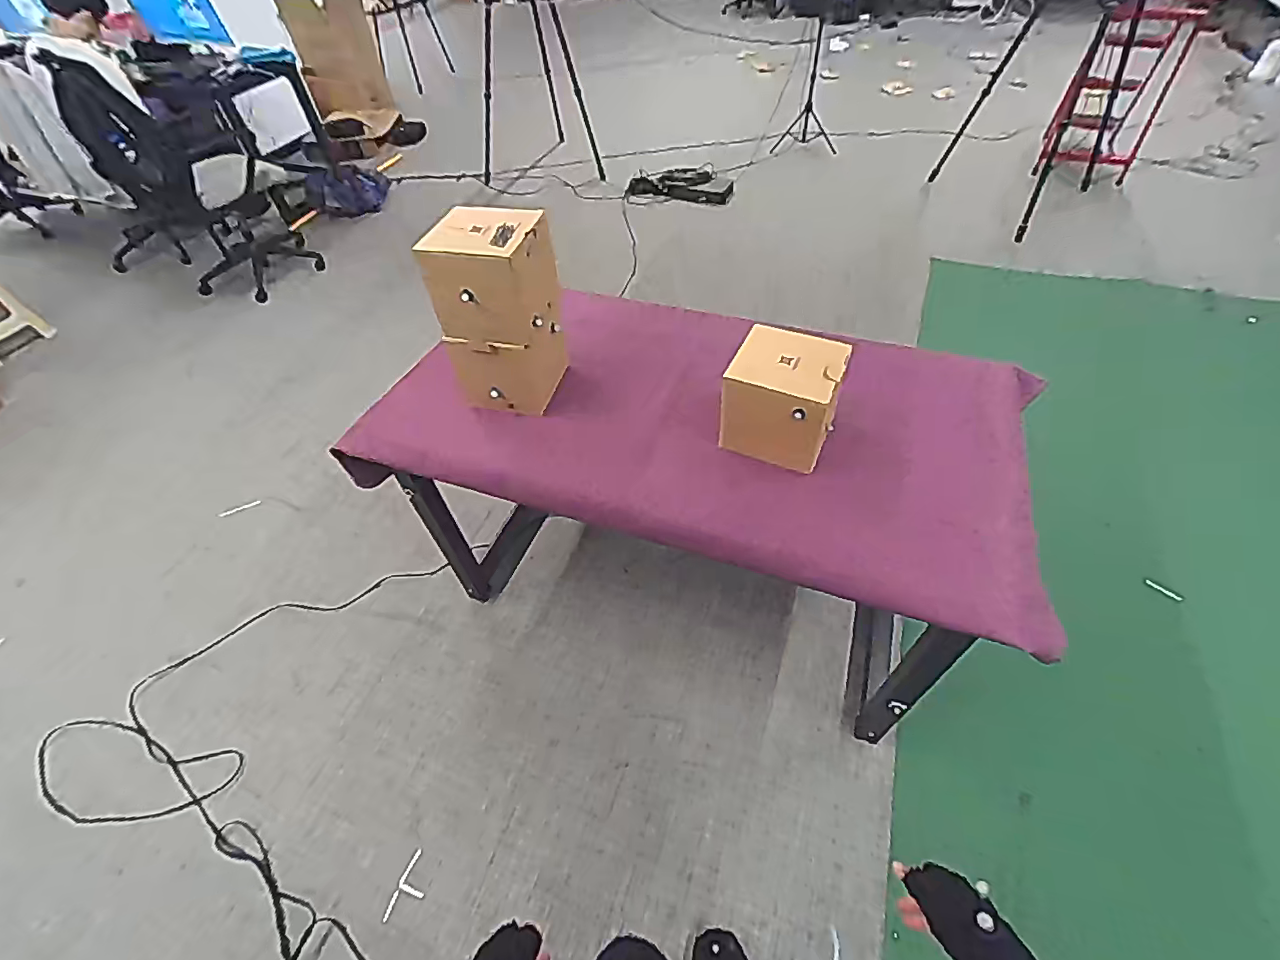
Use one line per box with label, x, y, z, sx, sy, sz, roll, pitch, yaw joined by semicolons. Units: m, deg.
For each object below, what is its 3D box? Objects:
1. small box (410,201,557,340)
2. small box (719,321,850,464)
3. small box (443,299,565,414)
small box;-0.263;-0.369;0.961;0.179;0.176;0.168;11;50;13
small box;0.249;-0.152;0.959;0.179;0.176;0.168;19;54;19
small box;-0.260;-0.261;1.089;0.168;0.176;0.179;9;51;12
